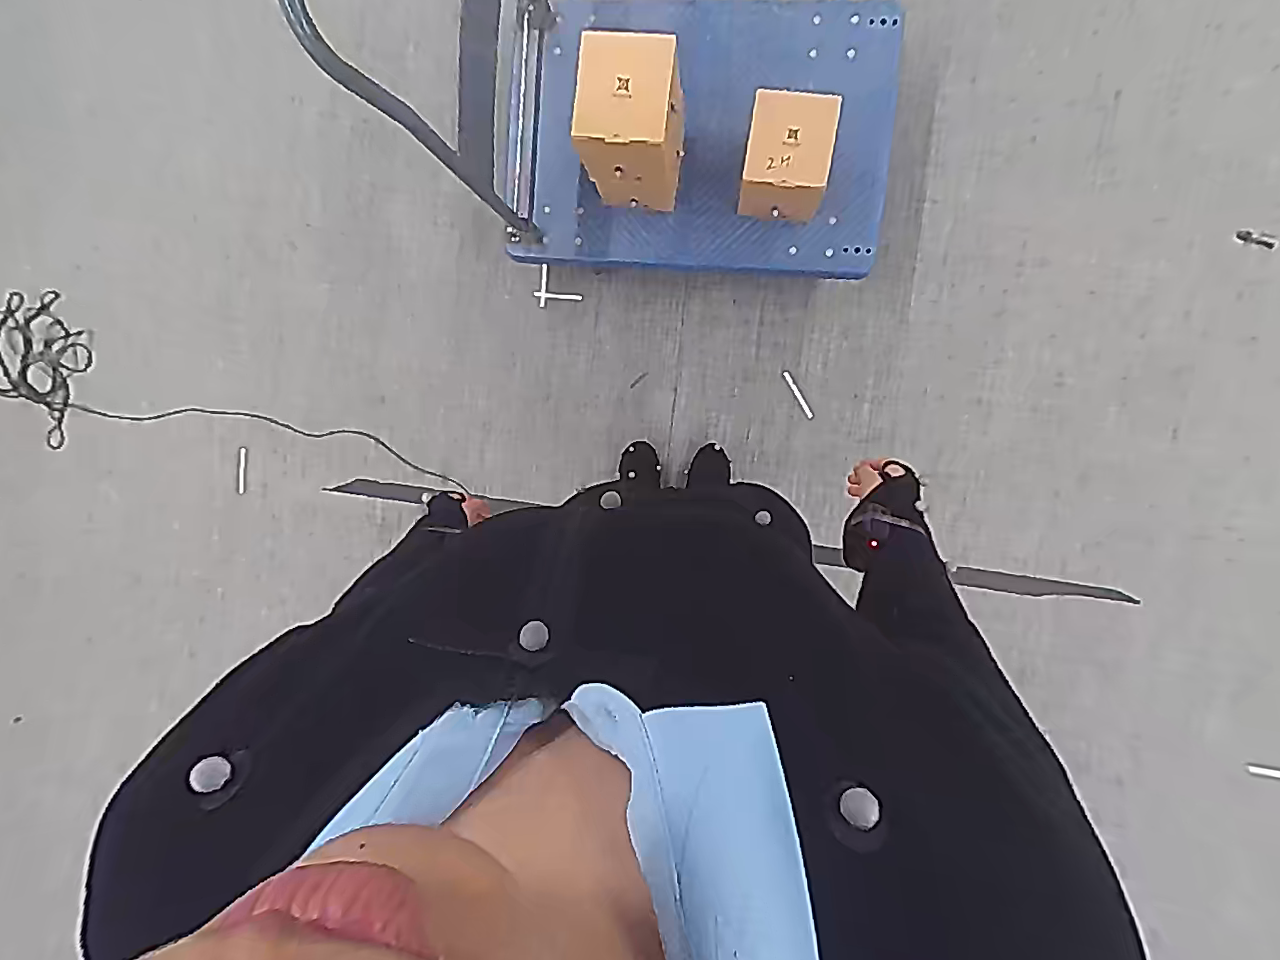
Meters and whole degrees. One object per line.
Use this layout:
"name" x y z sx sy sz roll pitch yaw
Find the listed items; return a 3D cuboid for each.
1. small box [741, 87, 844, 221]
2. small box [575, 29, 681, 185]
"small box" 0.308 -0.671 1.130 0.168 0.176 0.179 10 96 6
"small box" -0.015 -0.680 1.001 0.168 0.176 0.179 7 96 5
